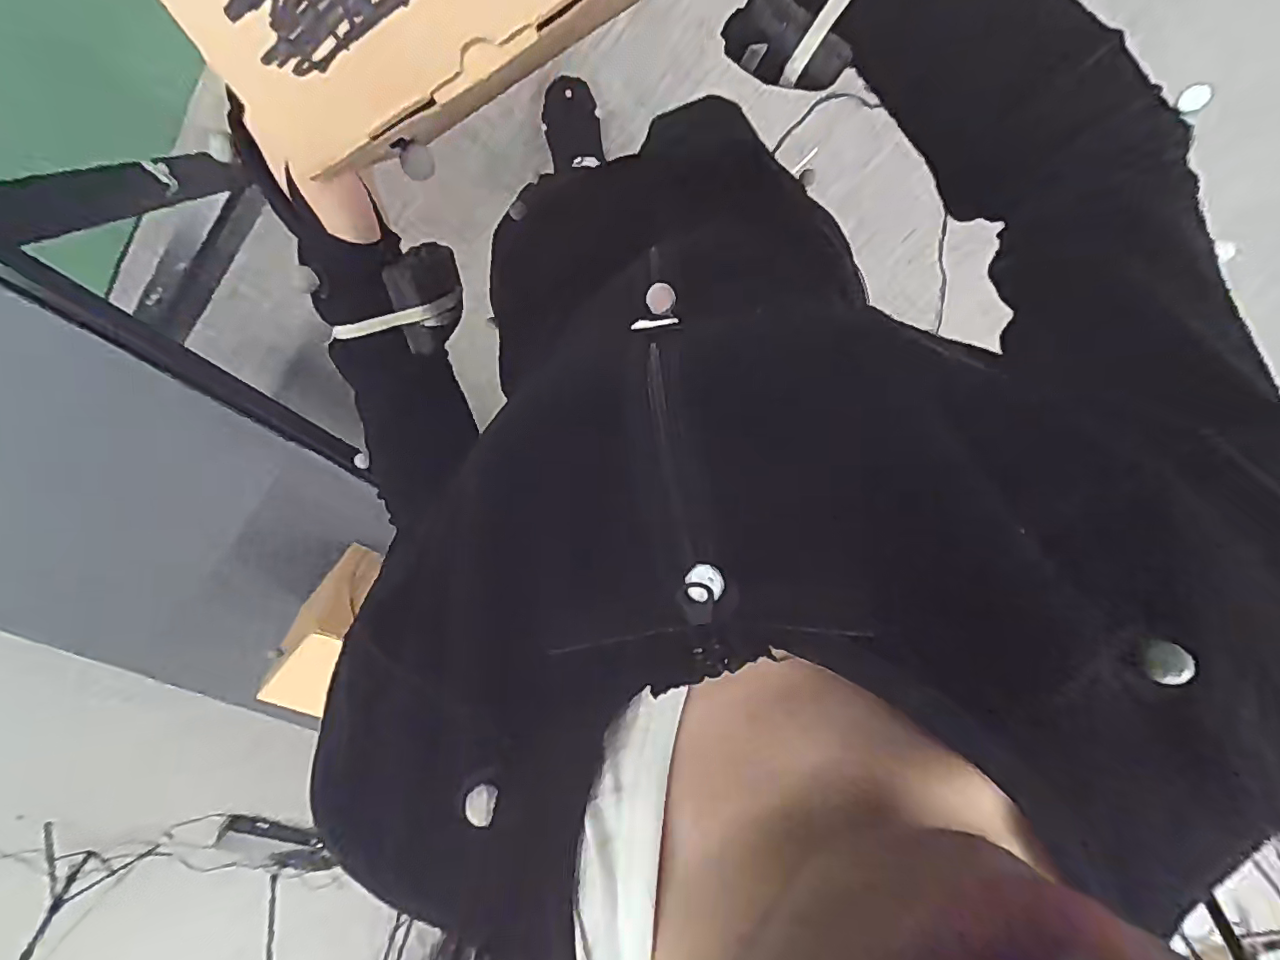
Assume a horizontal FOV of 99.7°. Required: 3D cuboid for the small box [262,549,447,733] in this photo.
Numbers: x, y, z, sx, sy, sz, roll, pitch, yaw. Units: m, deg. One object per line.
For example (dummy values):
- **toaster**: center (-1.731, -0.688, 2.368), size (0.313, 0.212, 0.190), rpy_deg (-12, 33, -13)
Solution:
- **small box**: center (-0.411, 0.239, 0.809), size (0.168, 0.176, 0.179), rpy_deg (34, 114, -28)
